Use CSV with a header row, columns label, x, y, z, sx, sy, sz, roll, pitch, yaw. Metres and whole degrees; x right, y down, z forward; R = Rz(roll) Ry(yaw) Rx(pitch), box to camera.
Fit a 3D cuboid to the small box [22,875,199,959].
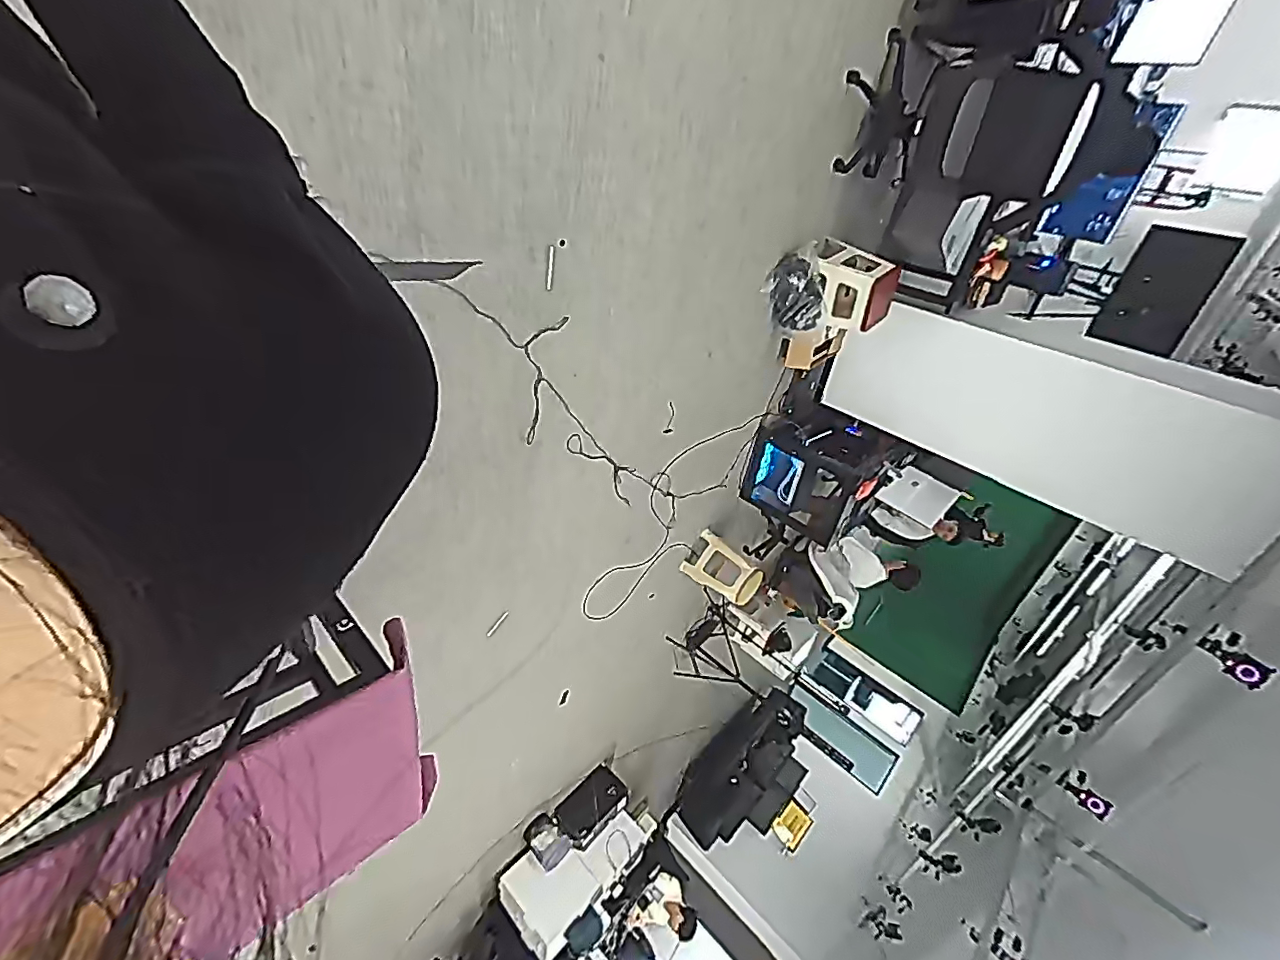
label,x,y,z,sx,sy,sz,roll,pitch,yaw
small box,-0.826,0.782,0.858,0.168,0.176,0.179,-21,136,-43
